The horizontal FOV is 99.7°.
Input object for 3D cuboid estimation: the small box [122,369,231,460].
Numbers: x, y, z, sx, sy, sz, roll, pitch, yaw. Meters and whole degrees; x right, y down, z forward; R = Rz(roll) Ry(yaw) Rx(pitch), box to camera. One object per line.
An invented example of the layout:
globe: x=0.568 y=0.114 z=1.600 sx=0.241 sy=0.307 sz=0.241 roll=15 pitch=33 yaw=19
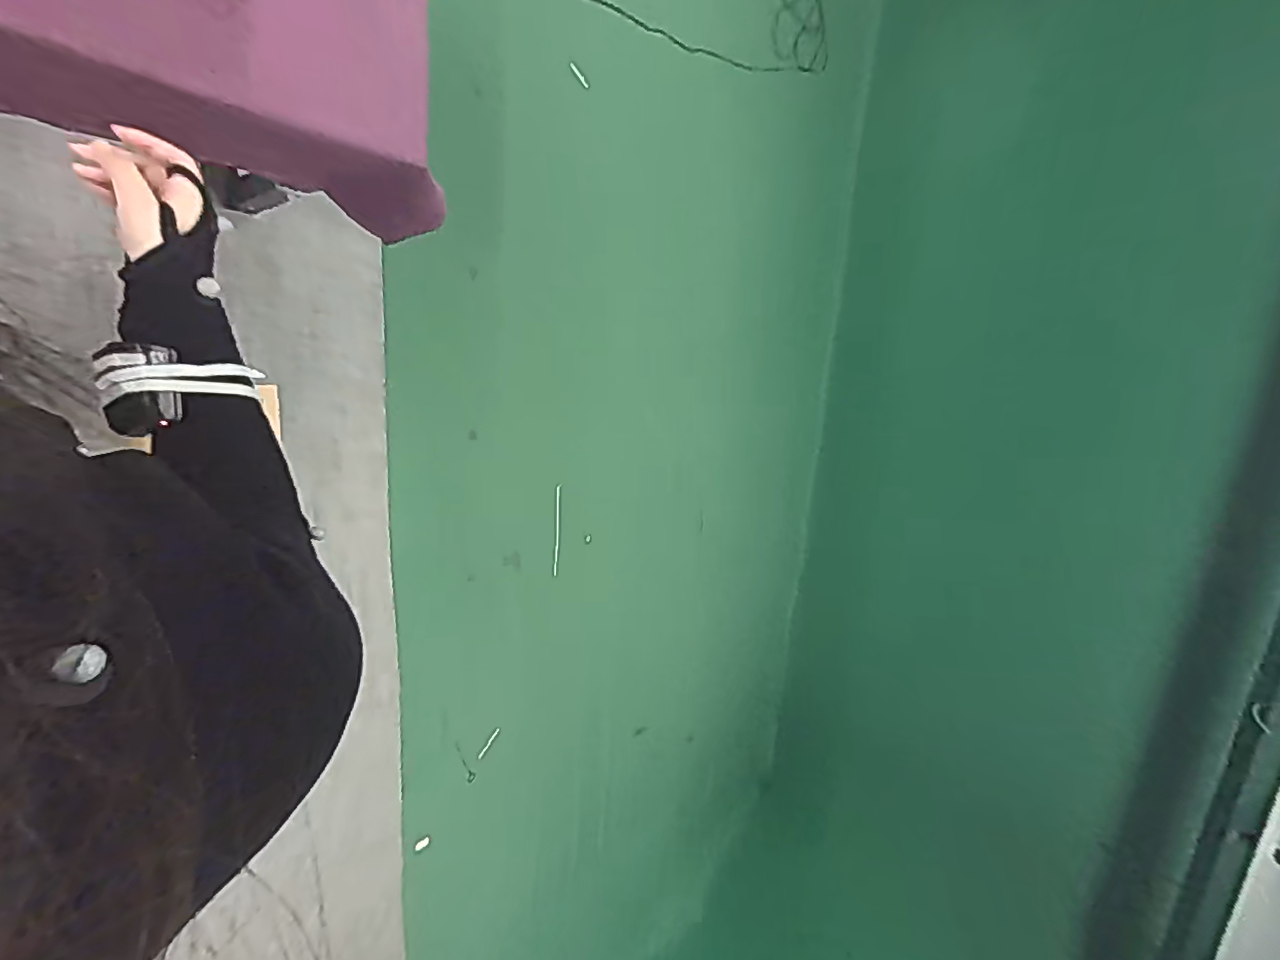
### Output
small box: x=-0.955 y=-0.142 z=1.137 sx=0.179 sy=0.176 sz=0.168 roll=-14 pitch=112 yaw=-49

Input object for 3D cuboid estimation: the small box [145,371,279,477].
small box: x=-0.824 y=-0.113 z=1.044 sx=0.168 sy=0.176 sz=0.179 roll=-11 pitch=109 yaw=-51
